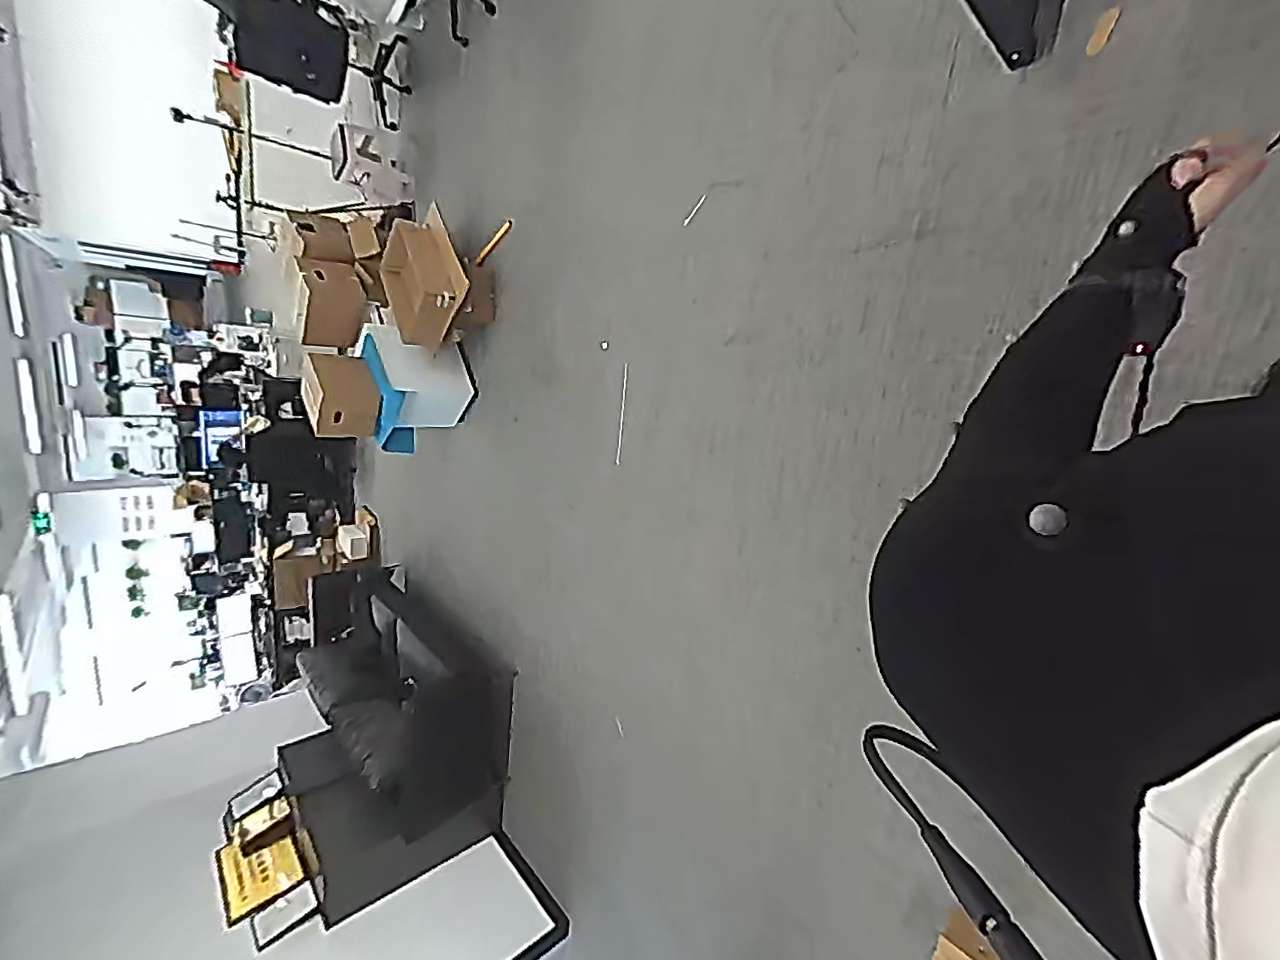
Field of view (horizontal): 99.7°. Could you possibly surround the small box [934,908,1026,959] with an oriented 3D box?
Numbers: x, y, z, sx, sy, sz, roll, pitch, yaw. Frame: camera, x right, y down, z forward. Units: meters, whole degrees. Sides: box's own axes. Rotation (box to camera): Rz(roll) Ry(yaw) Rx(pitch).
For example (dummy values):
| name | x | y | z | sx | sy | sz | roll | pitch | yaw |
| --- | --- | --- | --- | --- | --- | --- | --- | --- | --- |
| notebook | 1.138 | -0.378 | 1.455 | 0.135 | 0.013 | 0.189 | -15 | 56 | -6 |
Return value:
| name | x | y | z | sx | sy | sz | roll | pitch | yaw |
| --- | --- | --- | --- | --- | --- | --- | --- | --- | --- |
| small box | 0.920 | 1.335 | 1.472 | 0.179 | 0.176 | 0.168 | 19 | 107 | 45 |
